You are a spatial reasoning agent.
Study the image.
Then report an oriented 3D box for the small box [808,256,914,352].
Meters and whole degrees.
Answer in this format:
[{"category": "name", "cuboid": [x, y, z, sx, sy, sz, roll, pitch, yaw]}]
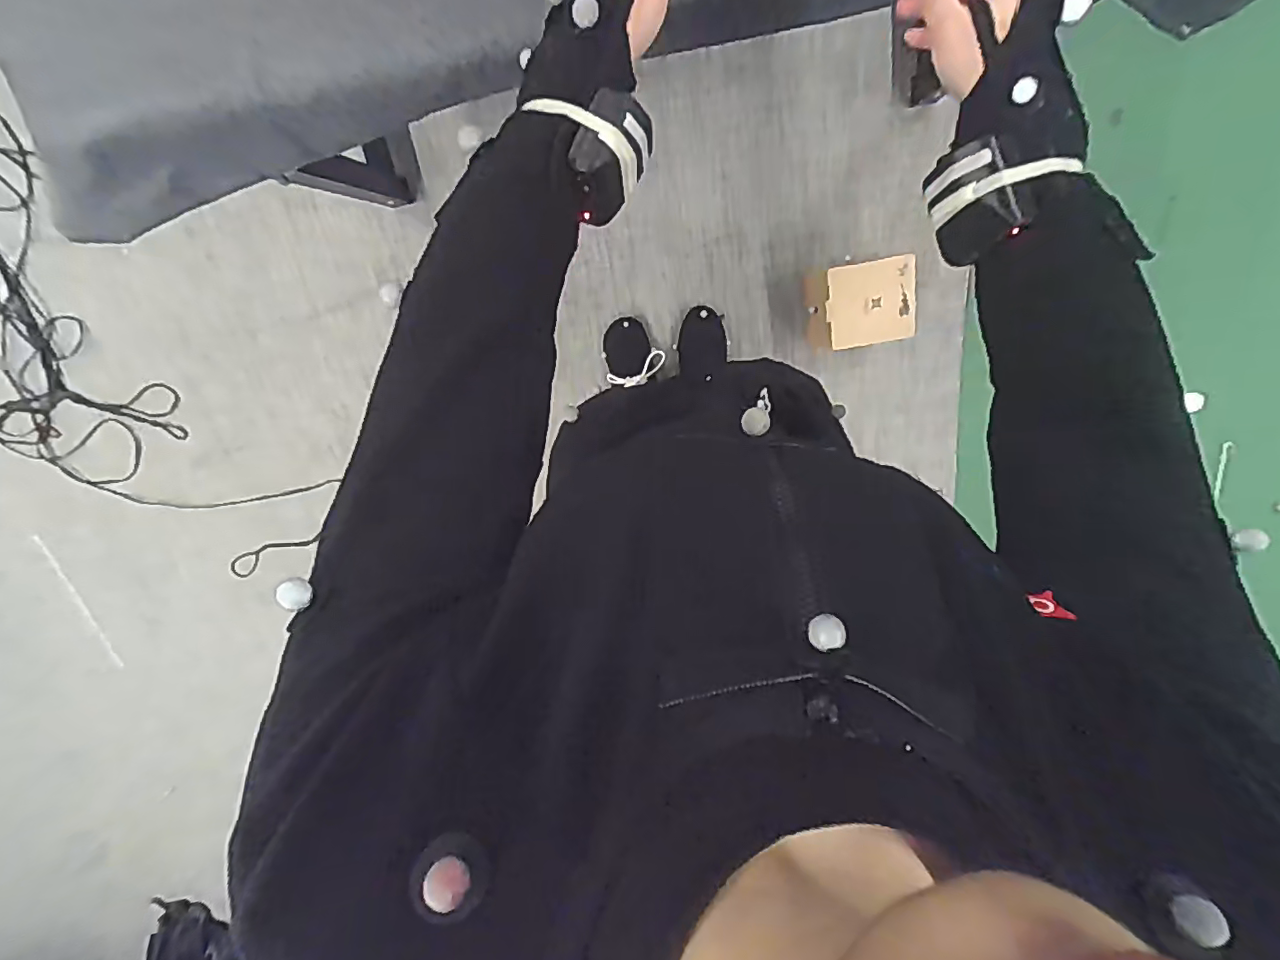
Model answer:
[{"category": "small box", "cuboid": [0.470, -0.379, 1.173, 0.179, 0.176, 0.168, -9, 109, 5]}]
